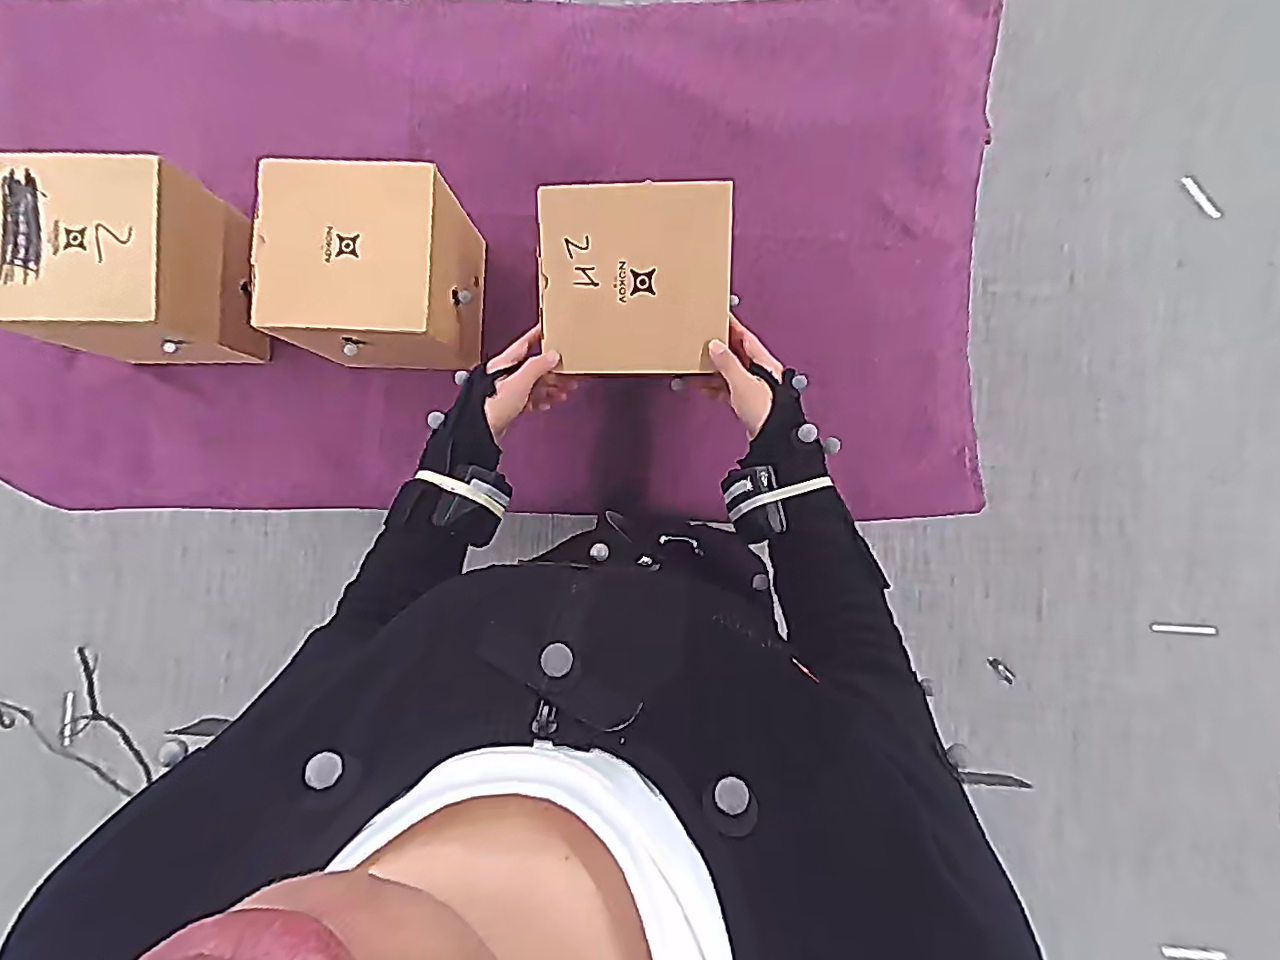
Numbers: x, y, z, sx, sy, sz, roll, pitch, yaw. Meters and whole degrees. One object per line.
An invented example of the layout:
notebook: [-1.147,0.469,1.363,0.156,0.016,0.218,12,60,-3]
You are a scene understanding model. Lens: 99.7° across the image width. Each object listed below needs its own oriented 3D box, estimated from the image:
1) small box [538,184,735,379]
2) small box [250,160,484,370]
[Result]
small box: [0.001,-0.192,0.564,0.179,0.176,0.168,1,100,5]
small box: [-0.283,-0.222,0.598,0.179,0.176,0.168,2,89,2]
